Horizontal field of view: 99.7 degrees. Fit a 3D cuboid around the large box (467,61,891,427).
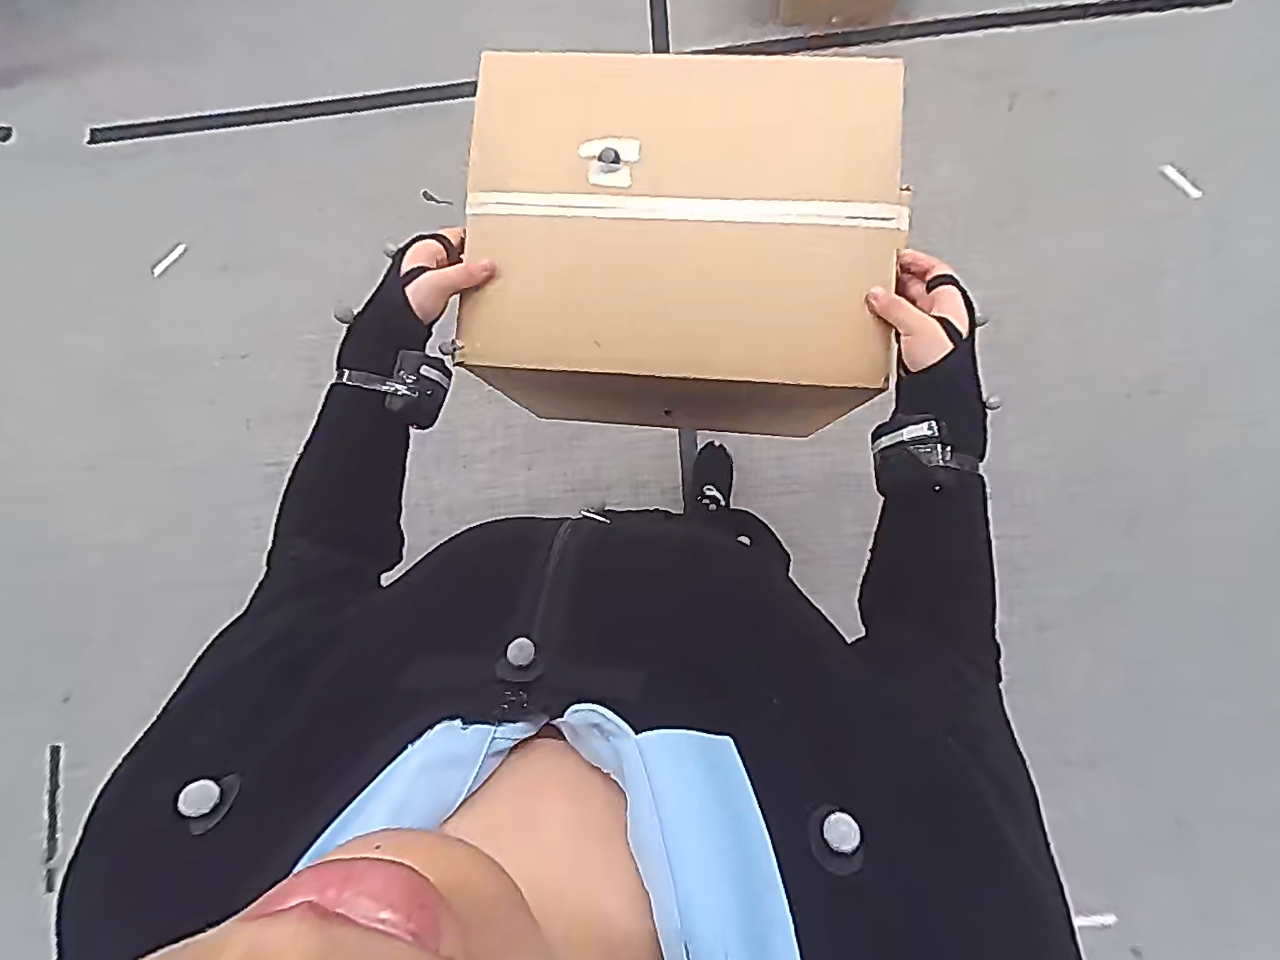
[{"bbox_3d":[0.049,-0.244,0.668,0.408,0.320,0.320,3,85,5],"label":"large box"}]
